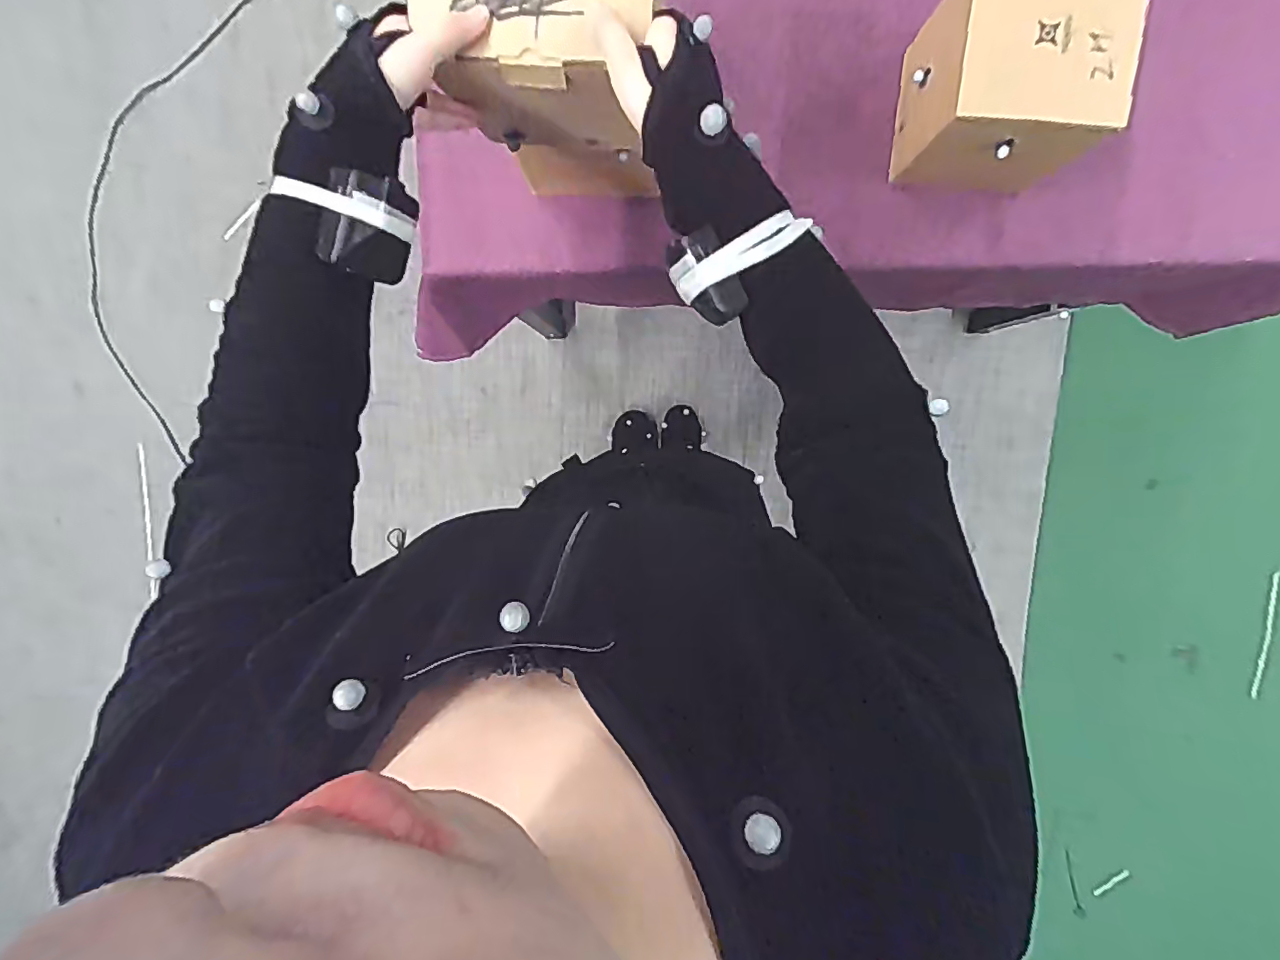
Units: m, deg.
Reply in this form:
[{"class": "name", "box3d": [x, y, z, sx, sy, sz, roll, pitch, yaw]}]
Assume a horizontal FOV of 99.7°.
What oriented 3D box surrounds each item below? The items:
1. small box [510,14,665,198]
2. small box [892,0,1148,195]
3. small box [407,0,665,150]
[{"class": "small box", "box3d": [-0.061, -0.453, 0.643, 0.179, 0.176, 0.168, 2, 96, 1]}, {"class": "small box", "box3d": [0.417, -0.450, 0.622, 0.179, 0.176, 0.168, 6, 97, 2]}, {"class": "small box", "box3d": [-0.066, -0.382, 0.425, 0.168, 0.176, 0.179, 5, 104, 3]}]
